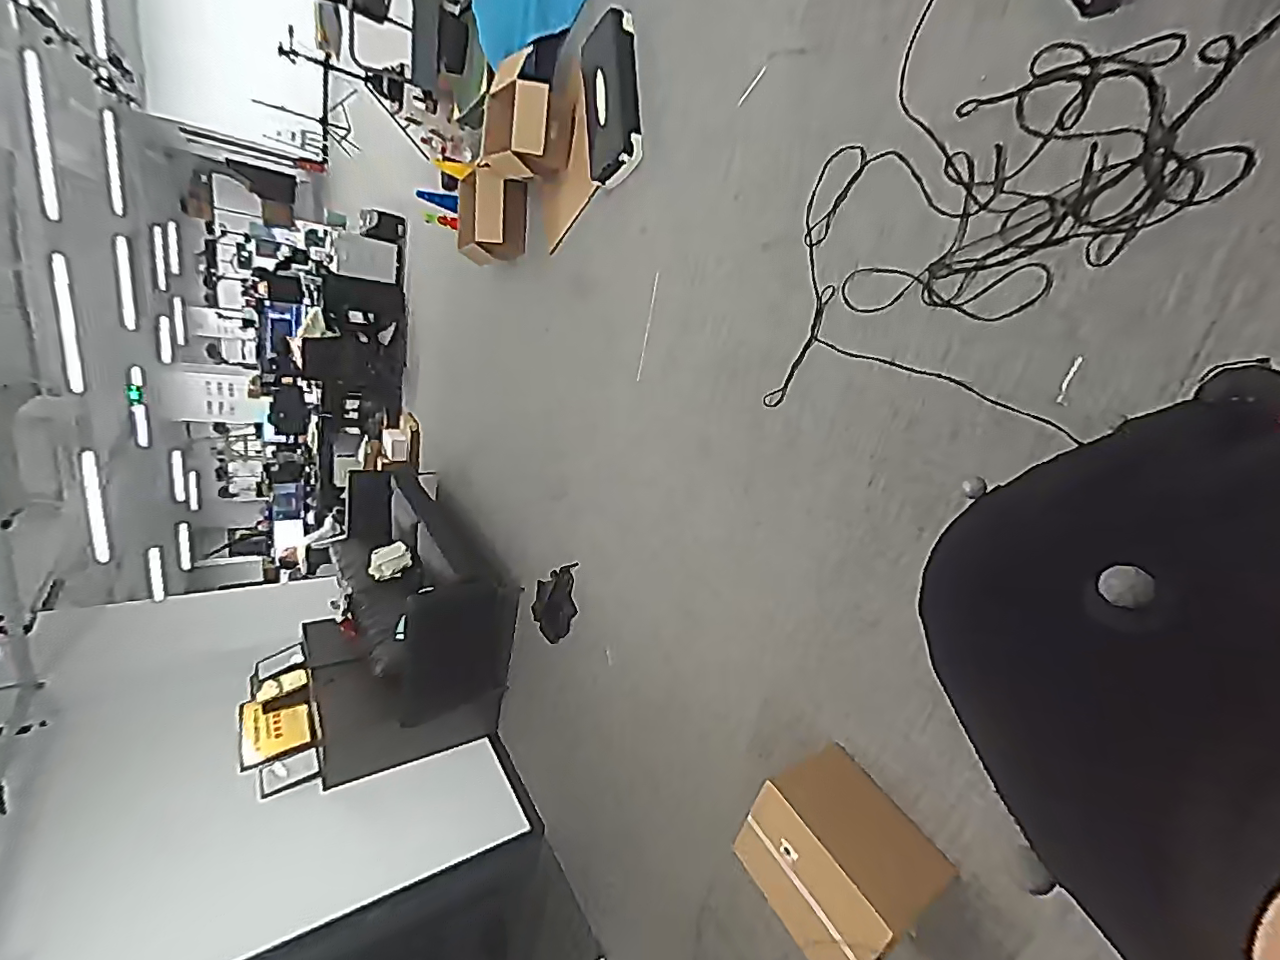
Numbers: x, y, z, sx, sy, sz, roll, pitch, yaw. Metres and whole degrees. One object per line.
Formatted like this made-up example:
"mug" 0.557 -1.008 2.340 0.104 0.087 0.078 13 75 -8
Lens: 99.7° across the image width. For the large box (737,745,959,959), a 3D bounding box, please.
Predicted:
"large box" 0.545 1.023 1.466 0.408 0.320 0.320 42 125 46
